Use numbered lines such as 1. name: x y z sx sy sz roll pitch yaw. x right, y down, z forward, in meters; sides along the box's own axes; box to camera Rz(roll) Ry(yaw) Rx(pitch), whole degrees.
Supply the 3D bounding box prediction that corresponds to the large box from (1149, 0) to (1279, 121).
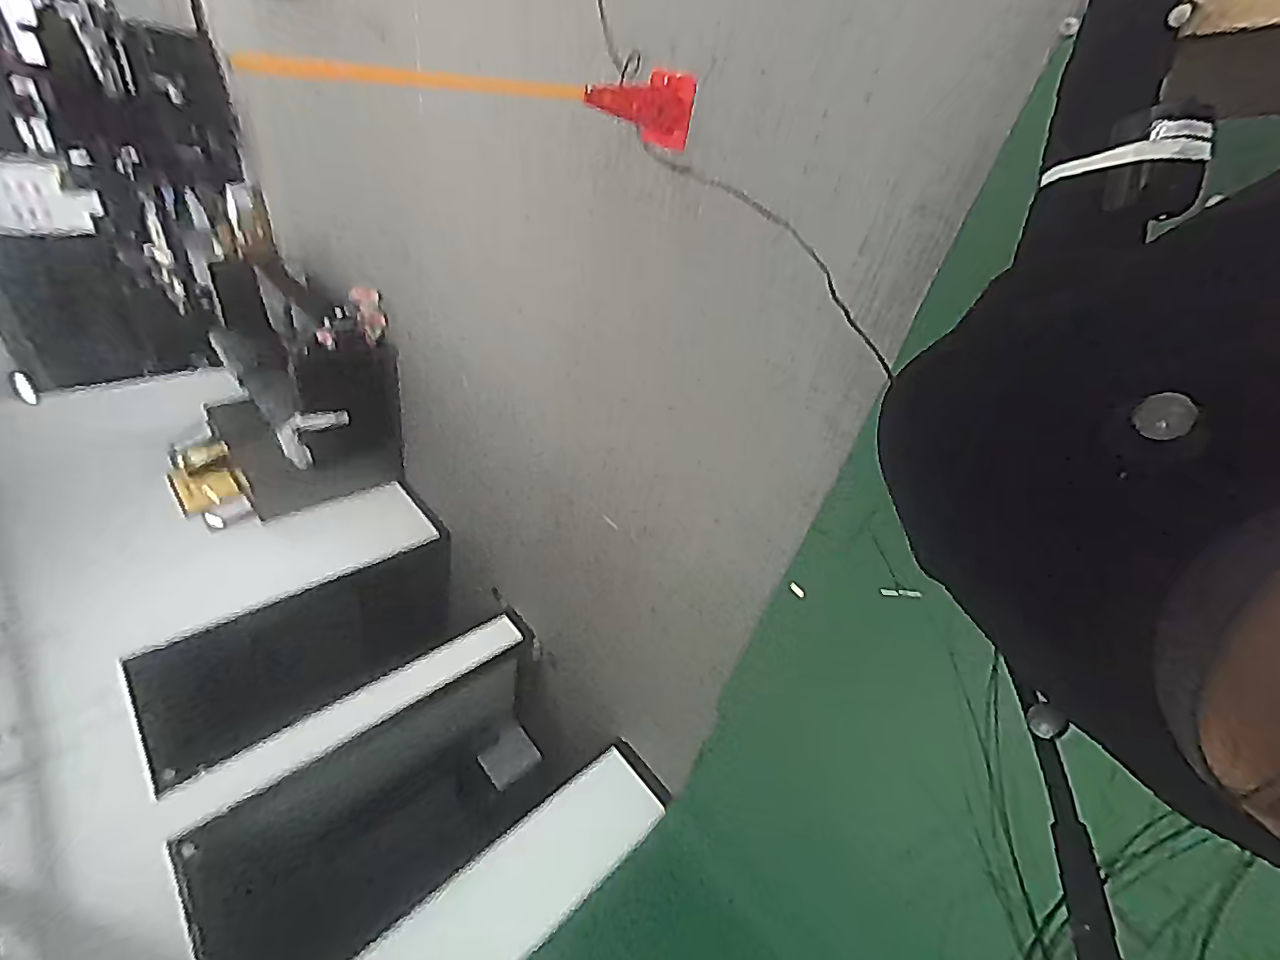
1. large box: 0.601 -0.426 0.297 0.408 0.320 0.320 18 118 35
